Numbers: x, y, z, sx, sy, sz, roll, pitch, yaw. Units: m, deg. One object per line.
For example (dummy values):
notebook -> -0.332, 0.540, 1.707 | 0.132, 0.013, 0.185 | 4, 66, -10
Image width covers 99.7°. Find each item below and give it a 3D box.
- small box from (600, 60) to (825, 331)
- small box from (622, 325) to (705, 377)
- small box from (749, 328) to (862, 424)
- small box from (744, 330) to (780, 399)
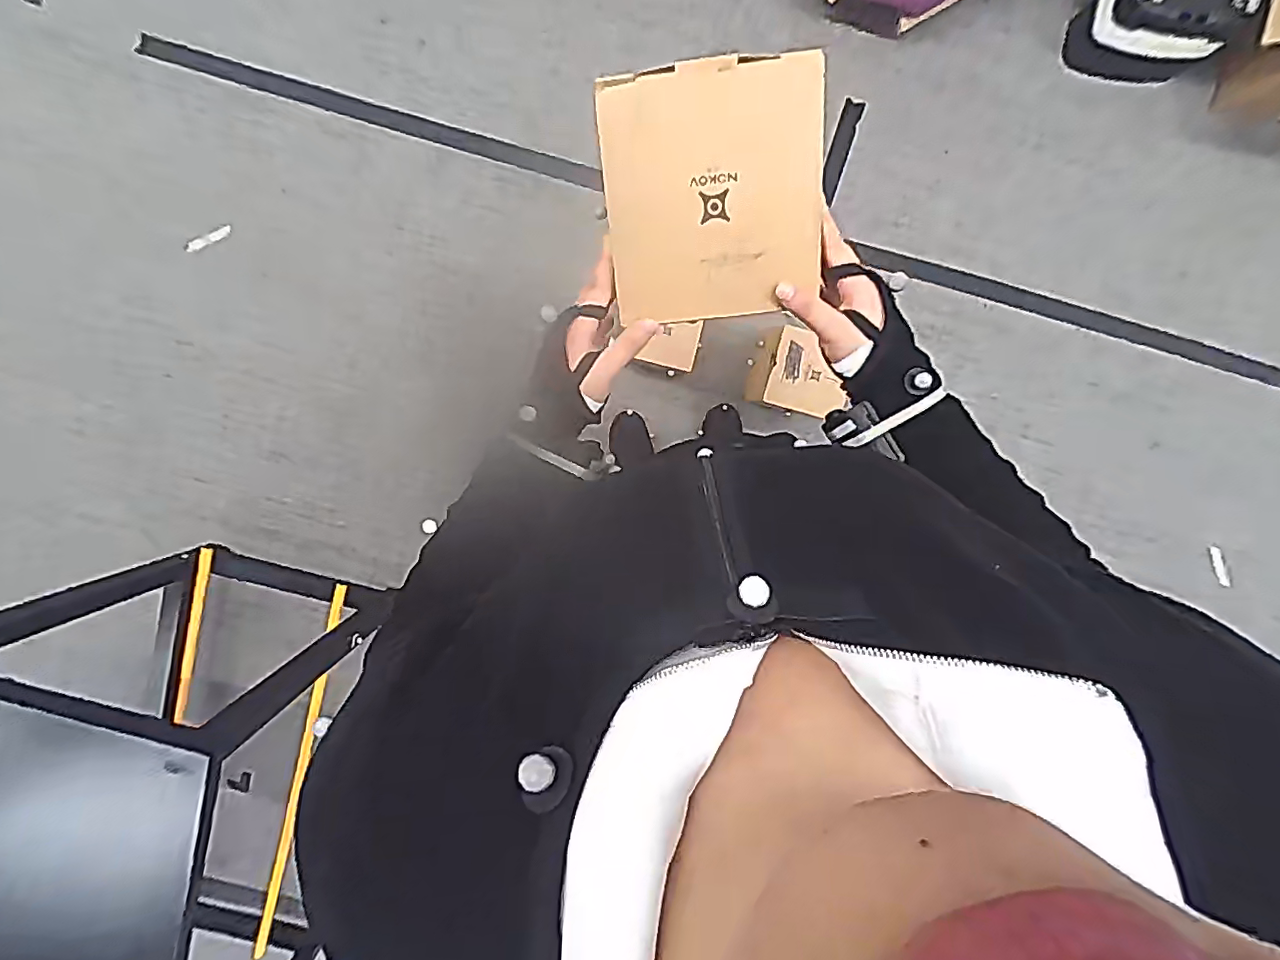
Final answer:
small box -> 0.057, -0.239, 0.488 | 0.168, 0.176, 0.179 | -5, 113, 3
small box -> 0.060, -0.359, 1.363 | 0.179, 0.176, 0.168 | 14, 98, -1
small box -> 0.360, -0.227, 1.214 | 0.179, 0.176, 0.168 | 15, 99, -3
small box -> 0.375, -0.265, 1.376 | 0.168, 0.176, 0.179 | 18, 99, -2
